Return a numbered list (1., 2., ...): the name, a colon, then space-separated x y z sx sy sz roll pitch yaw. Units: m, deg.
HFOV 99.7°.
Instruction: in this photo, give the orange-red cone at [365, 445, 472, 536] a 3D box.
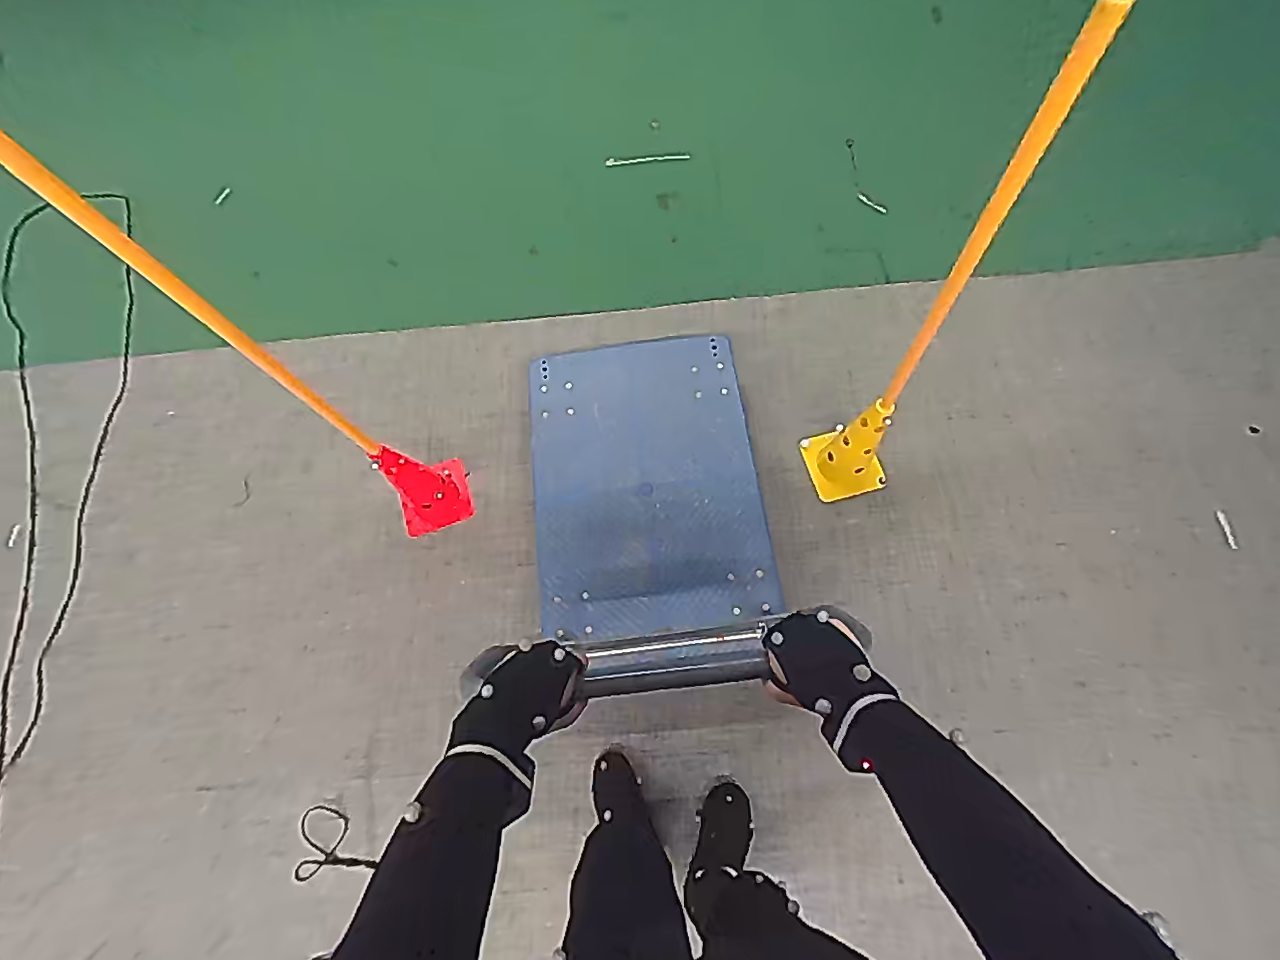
1. orange-red cone: -0.613 -0.005 1.423 0.199 0.360 0.198 -19 70 -2
